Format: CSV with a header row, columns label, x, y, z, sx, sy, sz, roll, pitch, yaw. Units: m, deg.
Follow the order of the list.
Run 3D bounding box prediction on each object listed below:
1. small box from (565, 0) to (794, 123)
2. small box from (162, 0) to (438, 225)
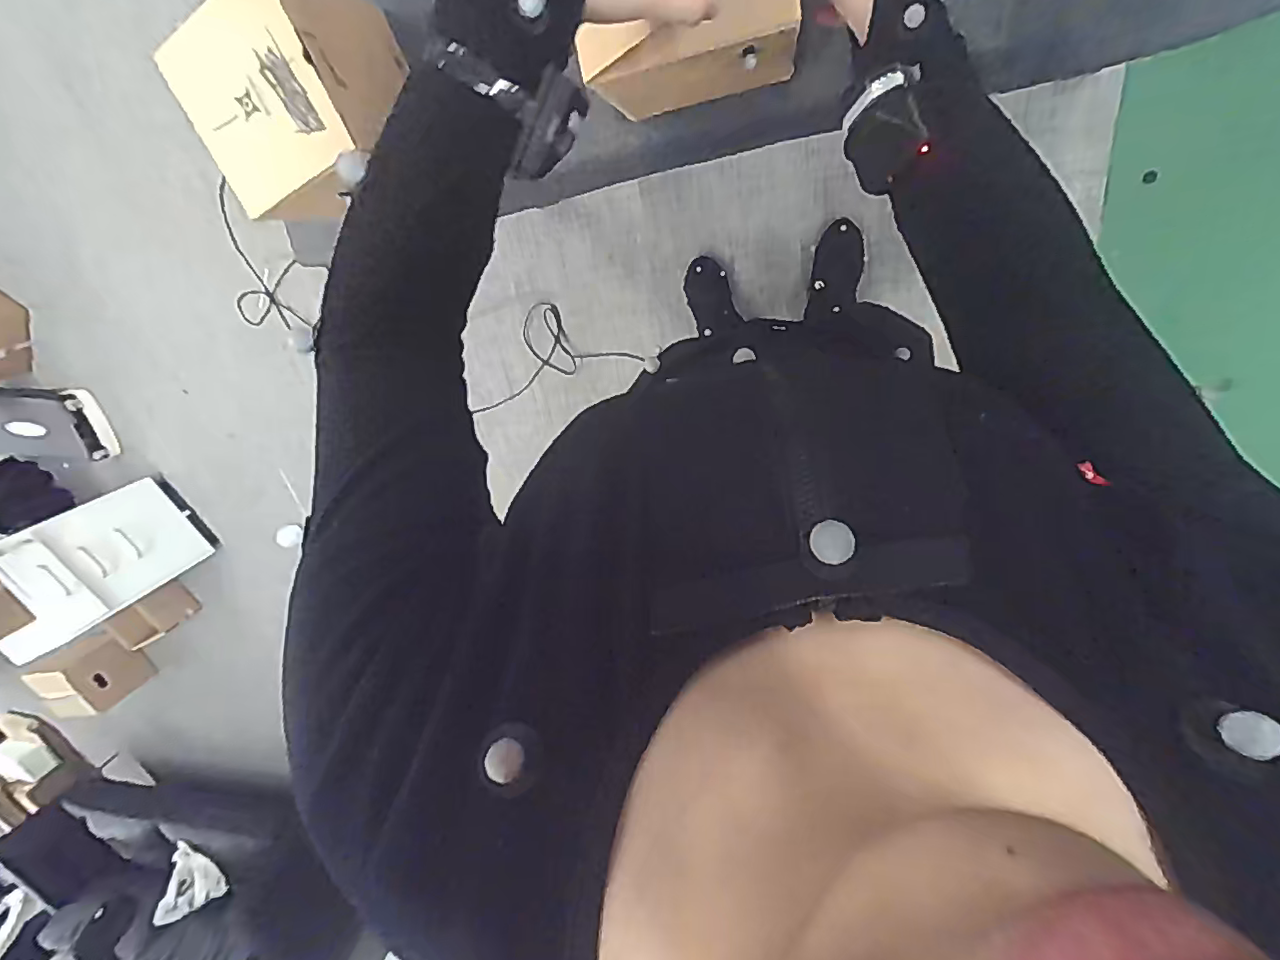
label,x,y,z,sx,sy,sz,roll,pitch,yaw
small box,0.037,-0.435,0.470,0.179,0.176,0.168,-5,113,14
small box,-0.359,-0.410,0.611,0.179,0.176,0.168,-14,112,24
